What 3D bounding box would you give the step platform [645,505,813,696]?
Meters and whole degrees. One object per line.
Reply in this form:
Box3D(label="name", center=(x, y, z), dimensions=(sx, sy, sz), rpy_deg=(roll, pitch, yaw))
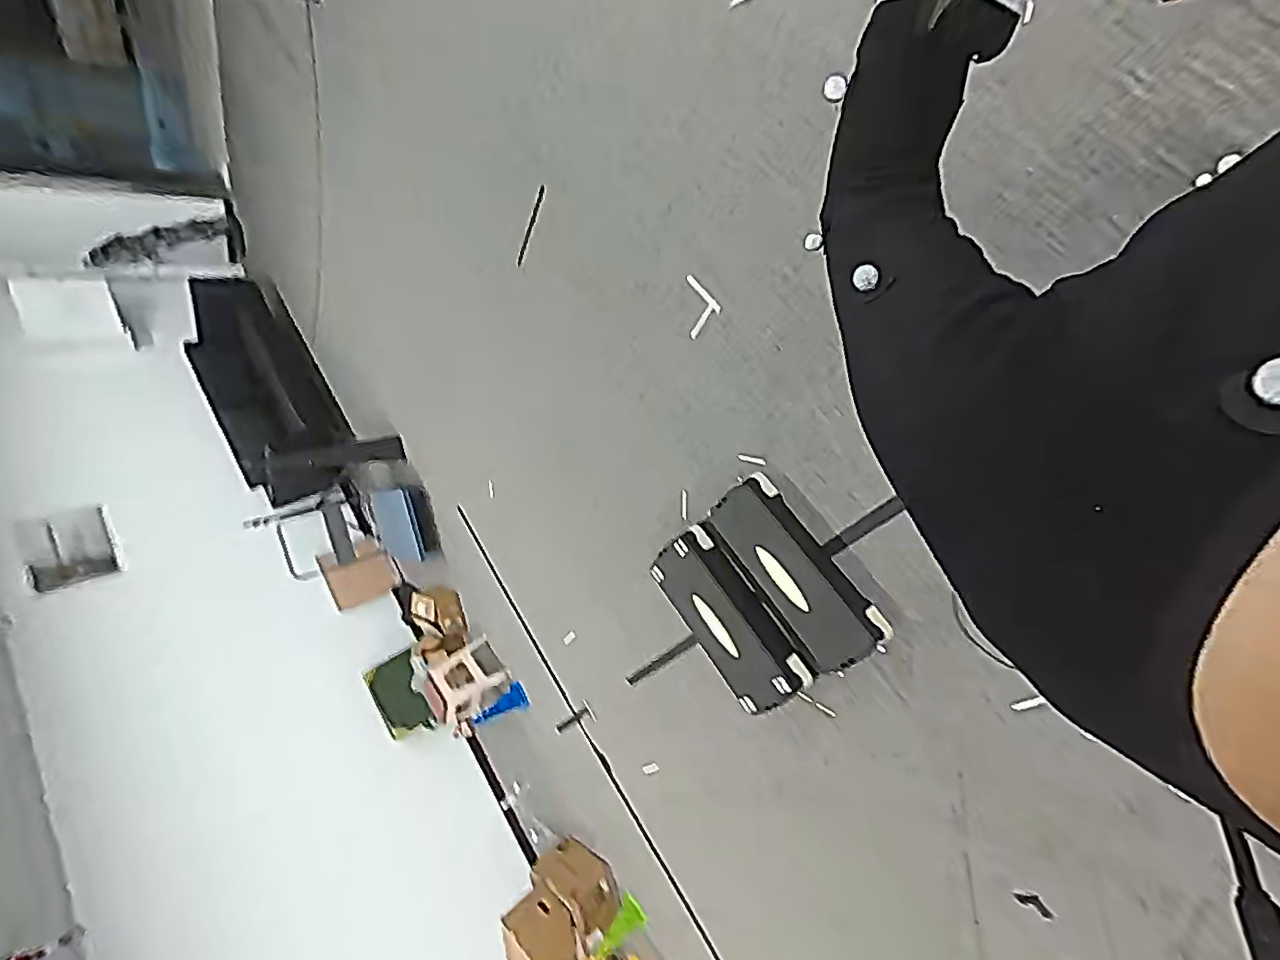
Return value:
Box3D(label="step platform", center=(0.307, 0.439, 1.995), dimensions=(0.684, 0.204, 0.286), rpy_deg=(55, 137, 19))
